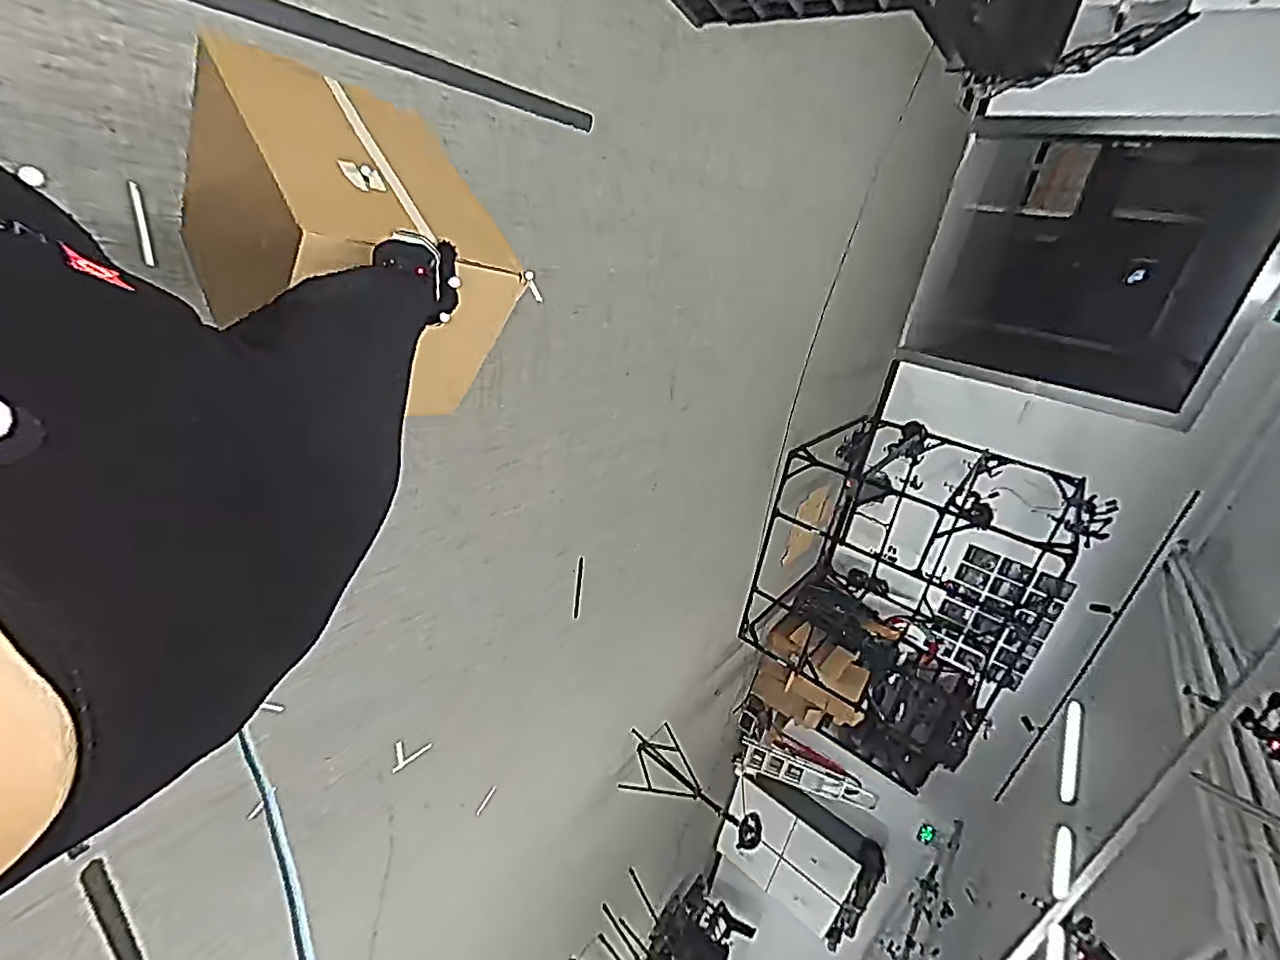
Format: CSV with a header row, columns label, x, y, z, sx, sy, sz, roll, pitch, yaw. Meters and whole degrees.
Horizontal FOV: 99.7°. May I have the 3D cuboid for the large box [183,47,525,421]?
label,x,y,z,sx,sy,sz,roll,pitch,yaw
large box,-0.462,-0.347,0.859,0.320,0.408,0.320,-11,153,-50
